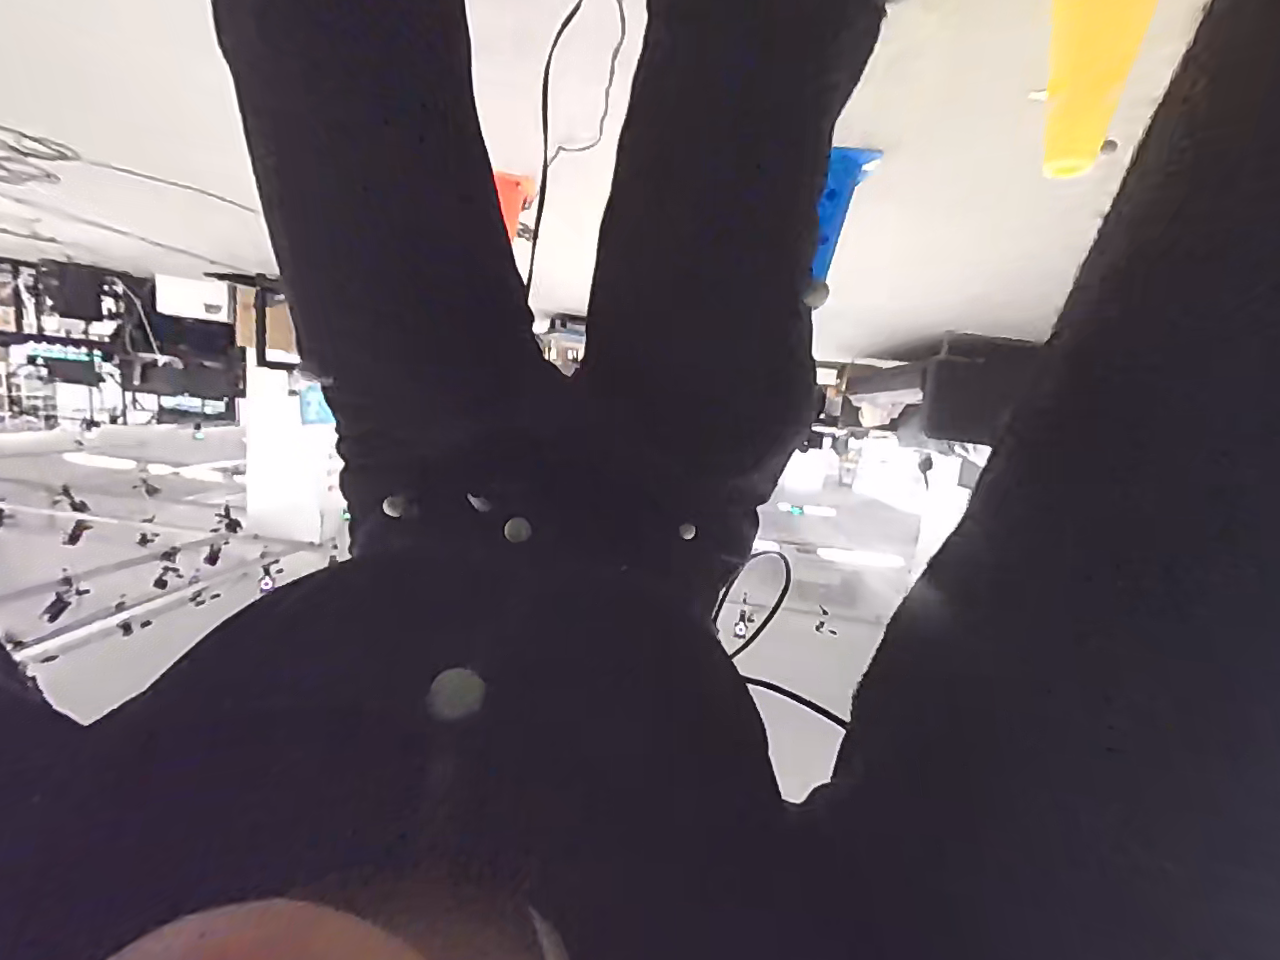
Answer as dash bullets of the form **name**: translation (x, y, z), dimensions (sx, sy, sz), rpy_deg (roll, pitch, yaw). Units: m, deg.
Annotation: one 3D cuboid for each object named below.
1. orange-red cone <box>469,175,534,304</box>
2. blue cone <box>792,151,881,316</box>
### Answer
- **orange-red cone**: translation (-0.471, -0.762, 1.769), dimensions (0.199, 0.360, 0.198), rpy_deg (6, -173, -16)
- **blue cone**: translation (0.467, -0.614, 1.375), dimensions (0.192, 0.380, 0.193), rpy_deg (7, -172, 3)
